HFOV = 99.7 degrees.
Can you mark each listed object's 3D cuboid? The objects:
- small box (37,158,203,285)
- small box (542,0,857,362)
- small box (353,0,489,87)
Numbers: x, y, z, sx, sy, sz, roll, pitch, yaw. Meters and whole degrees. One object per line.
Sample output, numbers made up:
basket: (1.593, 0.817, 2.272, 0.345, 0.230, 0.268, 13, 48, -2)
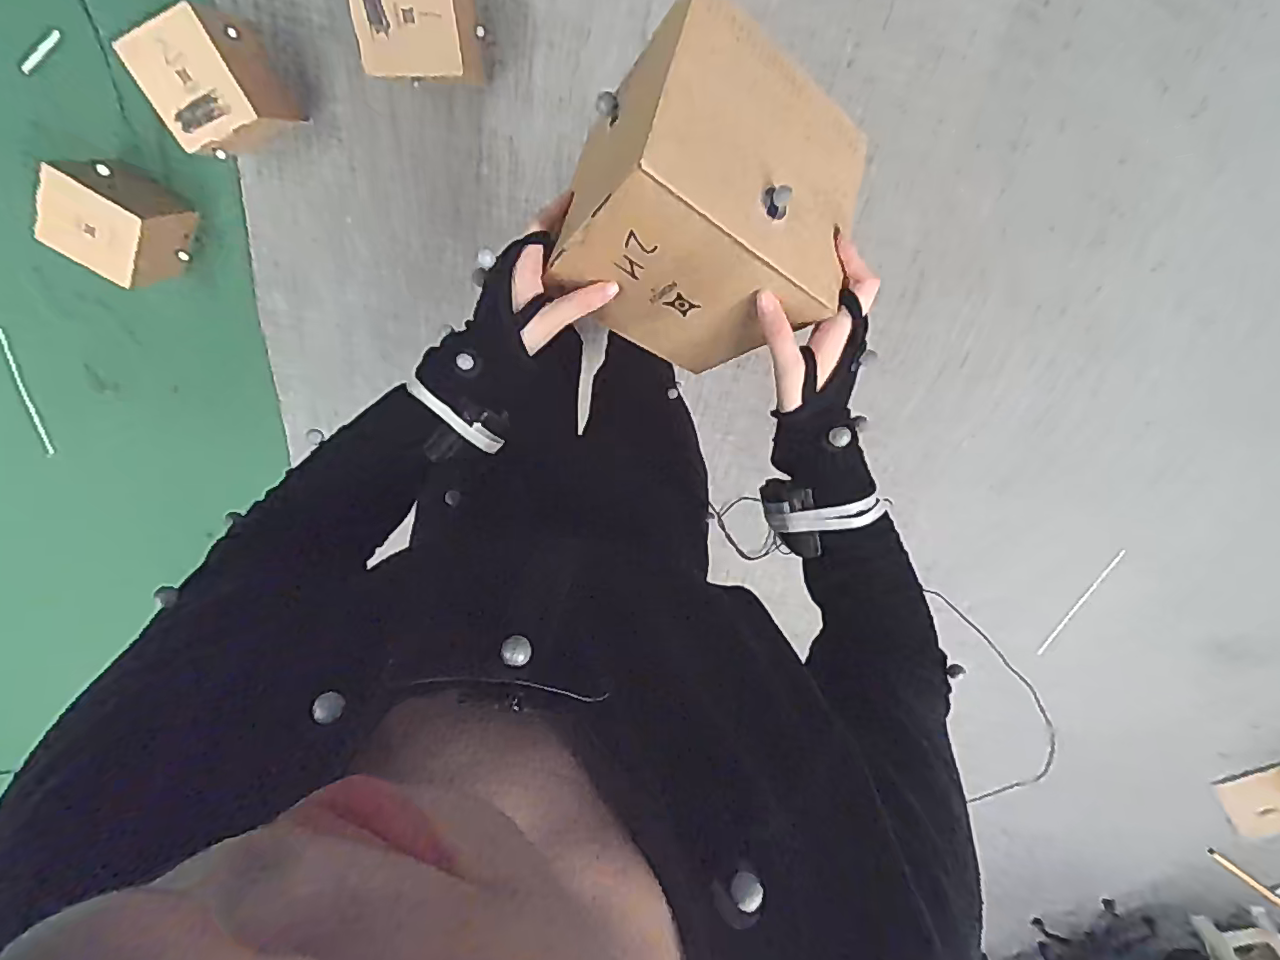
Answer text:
small box: (-1.083, -0.542, 1.136, 0.179, 0.176, 0.168, 32, 117, -17)
small box: (0.050, -0.226, 0.437, 0.179, 0.176, 0.168, 23, 162, -27)
small box: (-0.385, -0.809, 0.964, 0.179, 0.176, 0.168, 0, 122, 0)
